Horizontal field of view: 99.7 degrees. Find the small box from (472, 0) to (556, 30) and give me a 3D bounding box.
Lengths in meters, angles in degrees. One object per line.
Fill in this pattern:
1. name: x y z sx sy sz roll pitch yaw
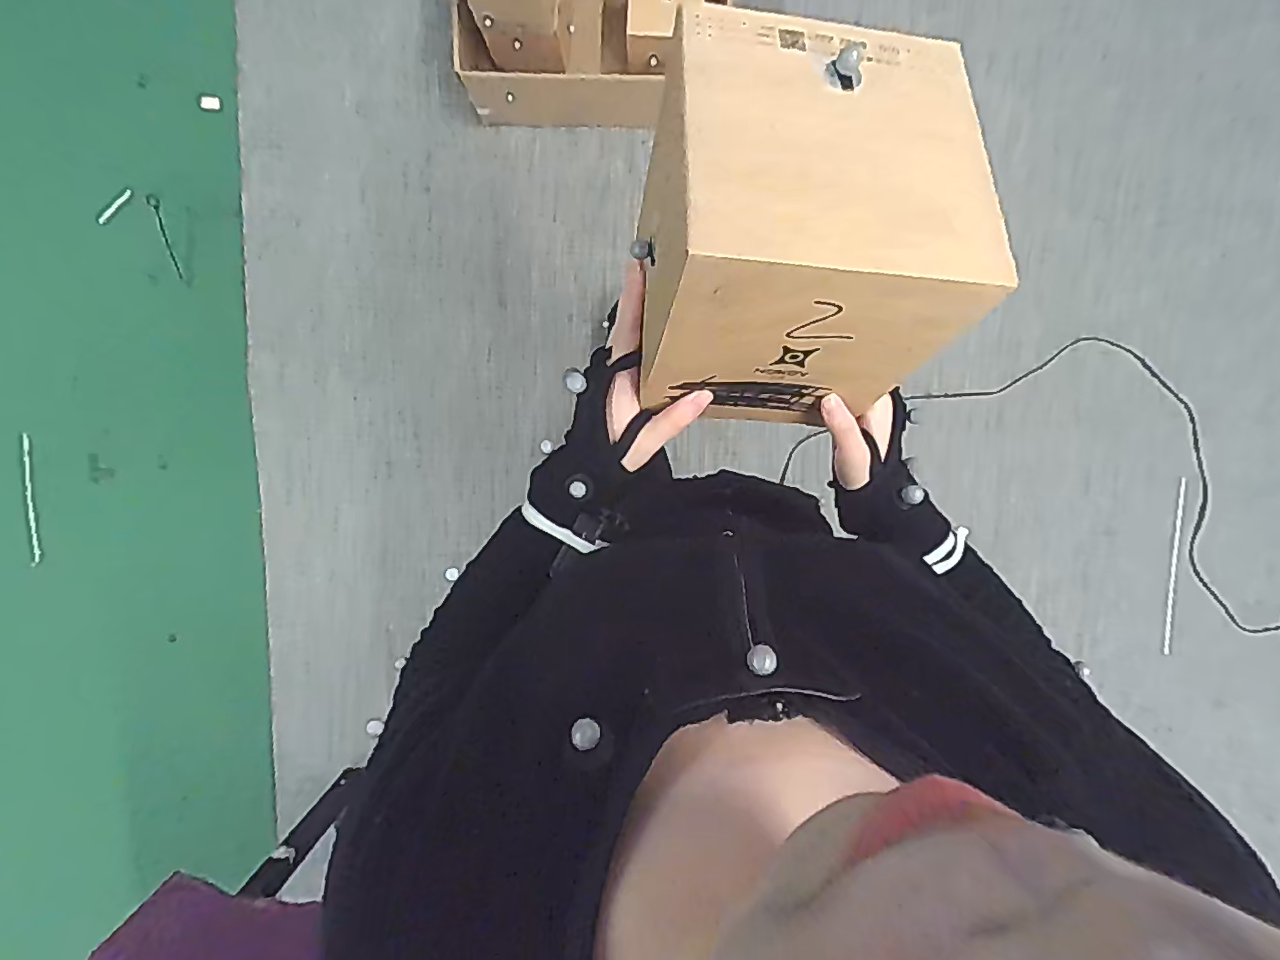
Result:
1. small box: -0.257 -1.046 1.072 0.168 0.176 0.179 7 95 0
